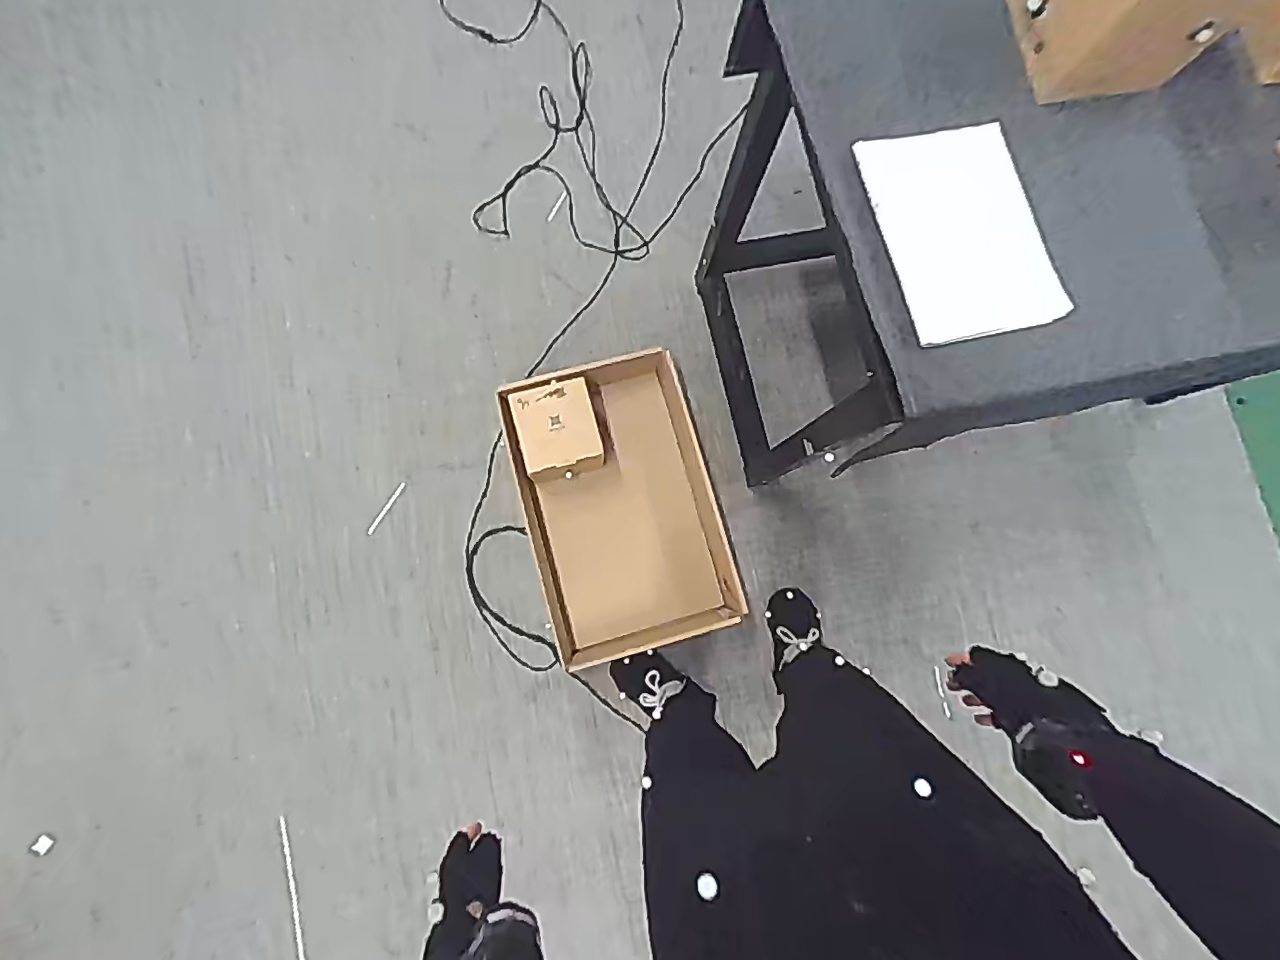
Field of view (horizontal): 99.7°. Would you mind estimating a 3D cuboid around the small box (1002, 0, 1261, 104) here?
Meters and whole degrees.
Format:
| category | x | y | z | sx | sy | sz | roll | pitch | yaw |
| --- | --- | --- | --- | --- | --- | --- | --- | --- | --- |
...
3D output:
| category | x | y | z | sx | sy | sz | roll | pitch | yaw |
| --- | --- | --- | --- | --- | --- | --- | --- | --- | --- |
| small box | 0.583 | -0.587 | 0.640 | 0.179 | 0.176 | 0.168 | -9 | 82 | -6 |
